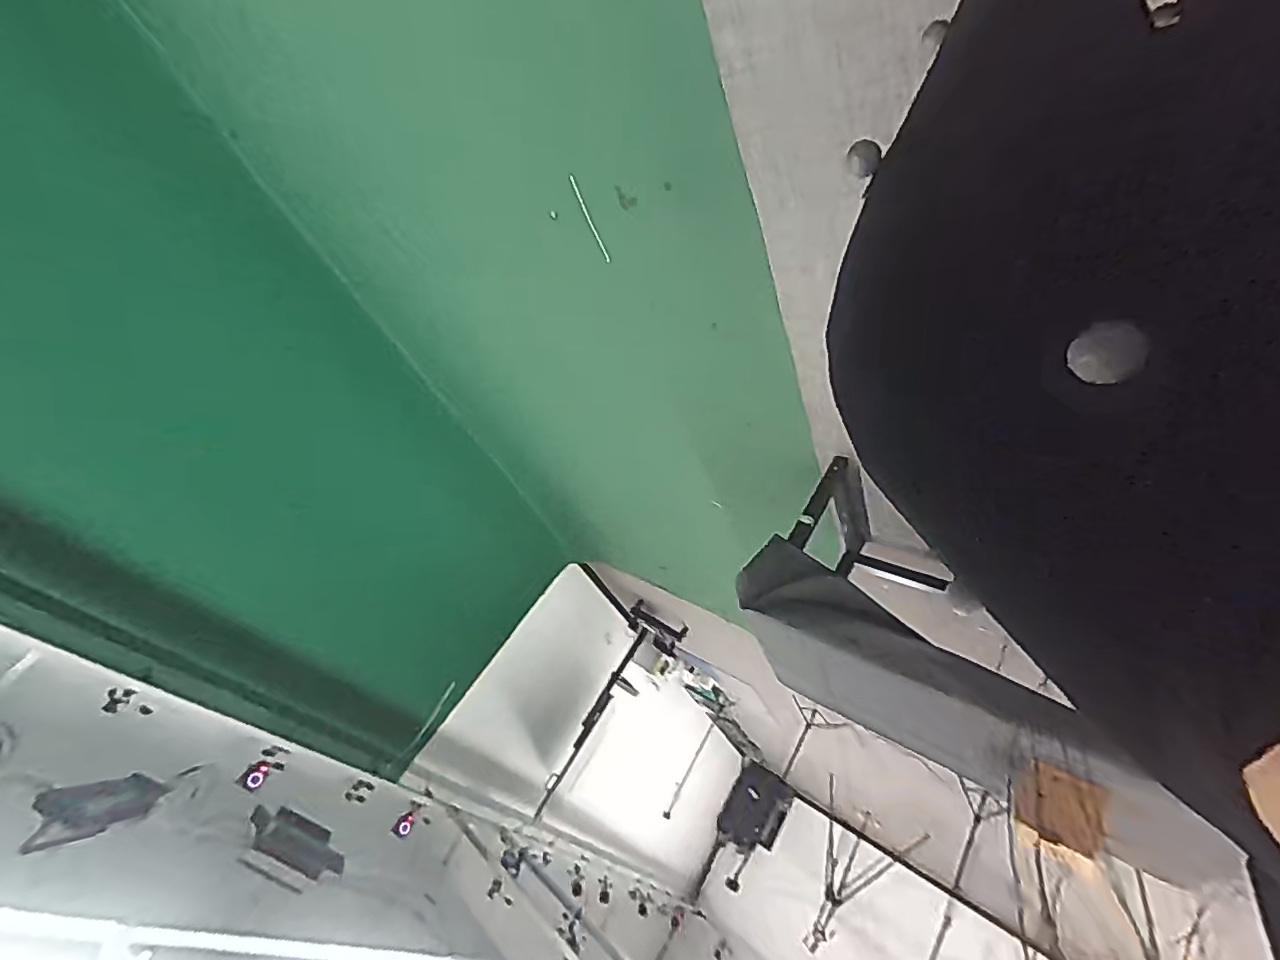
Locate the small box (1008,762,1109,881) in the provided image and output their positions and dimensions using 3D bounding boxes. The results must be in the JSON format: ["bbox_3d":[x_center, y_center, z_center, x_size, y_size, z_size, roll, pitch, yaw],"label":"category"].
[{"bbox_3d":[1.039,0.840,1.343,0.168,0.176,0.179,14,148,46],"label":"small box"}]
